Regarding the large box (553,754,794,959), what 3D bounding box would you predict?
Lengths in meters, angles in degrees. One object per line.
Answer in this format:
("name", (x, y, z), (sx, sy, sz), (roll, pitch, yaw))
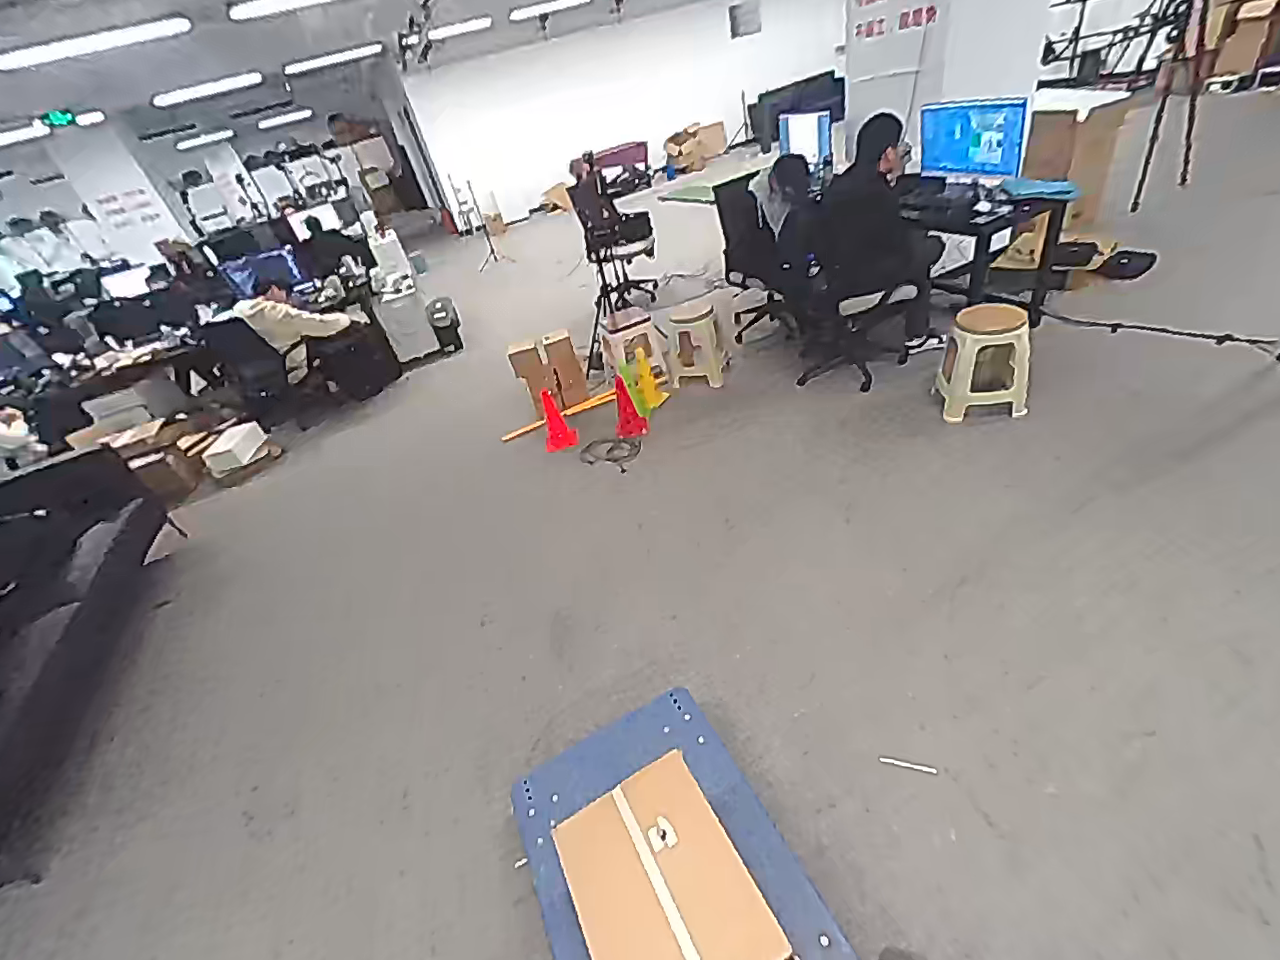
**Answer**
("large box", (0.072, 0.882, 1.111), (0.320, 0.320, 0.408), (-27, 37, -14))
